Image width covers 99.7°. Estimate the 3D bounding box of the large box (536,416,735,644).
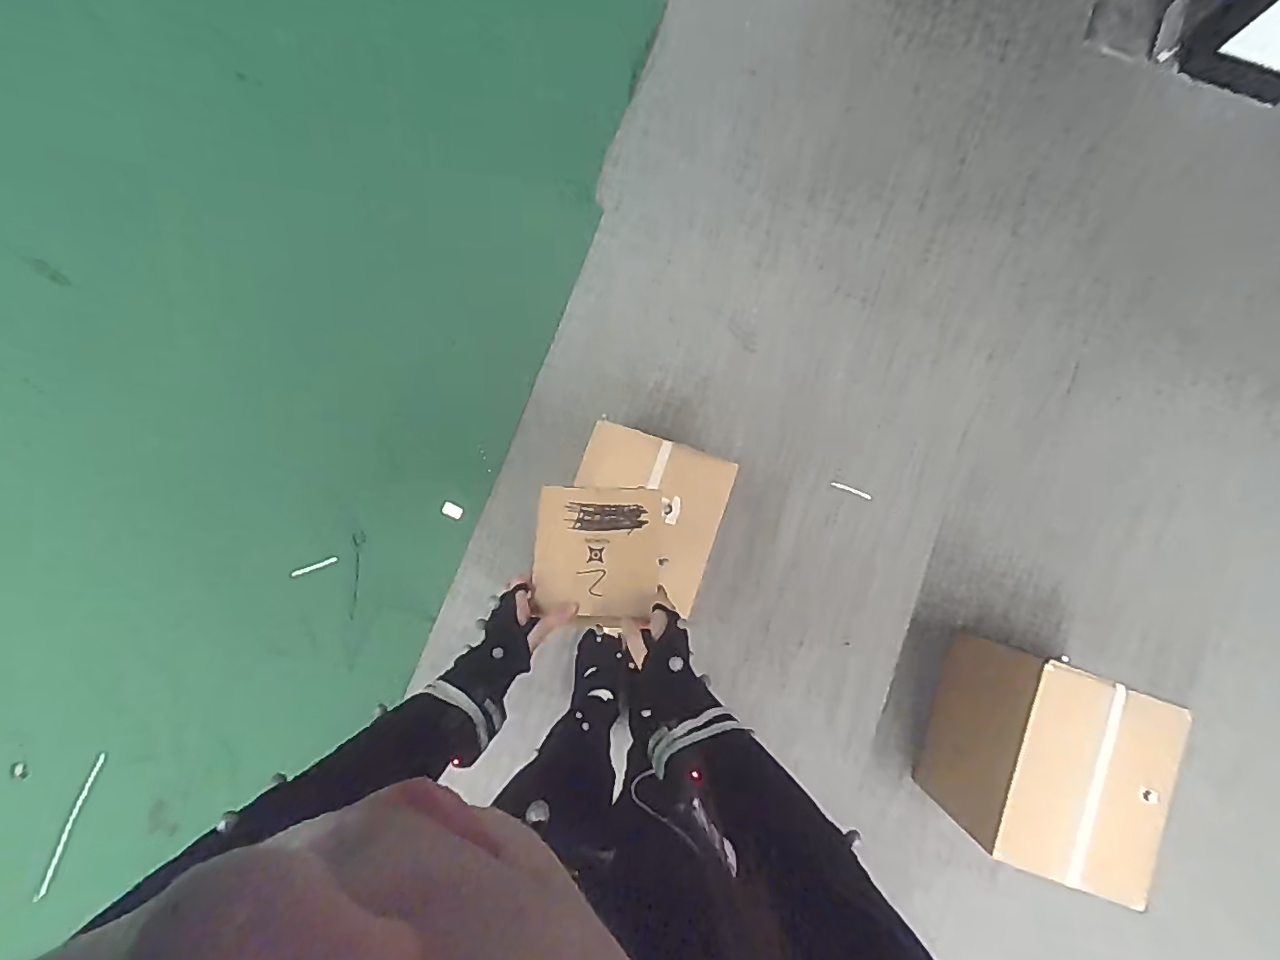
[{"bbox_3d":[-0.005,0.115,1.257,0.320,0.320,0.408,20,85,2],"label":"large box"}]
